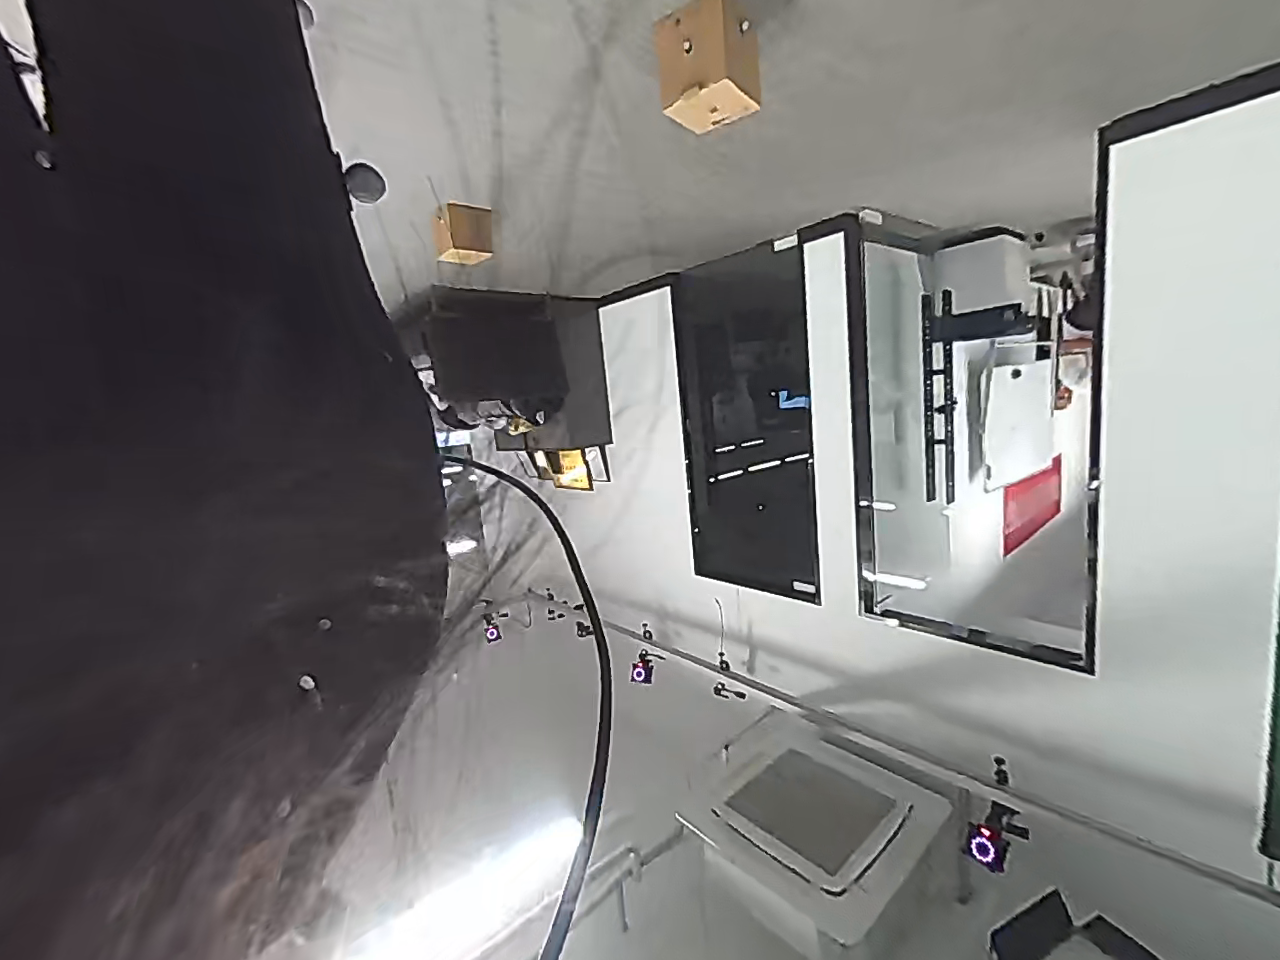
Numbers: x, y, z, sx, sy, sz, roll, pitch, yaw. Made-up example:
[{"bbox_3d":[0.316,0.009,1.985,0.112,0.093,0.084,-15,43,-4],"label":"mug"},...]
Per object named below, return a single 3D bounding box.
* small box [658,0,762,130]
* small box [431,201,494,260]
[{"bbox_3d":[0.153,-0.915,1.184,0.168,0.176,0.179,1,-169,36],"label":"small box"},{"bbox_3d":[-0.702,-0.984,2.139,0.179,0.176,0.168,-13,-170,-40],"label":"small box"}]
